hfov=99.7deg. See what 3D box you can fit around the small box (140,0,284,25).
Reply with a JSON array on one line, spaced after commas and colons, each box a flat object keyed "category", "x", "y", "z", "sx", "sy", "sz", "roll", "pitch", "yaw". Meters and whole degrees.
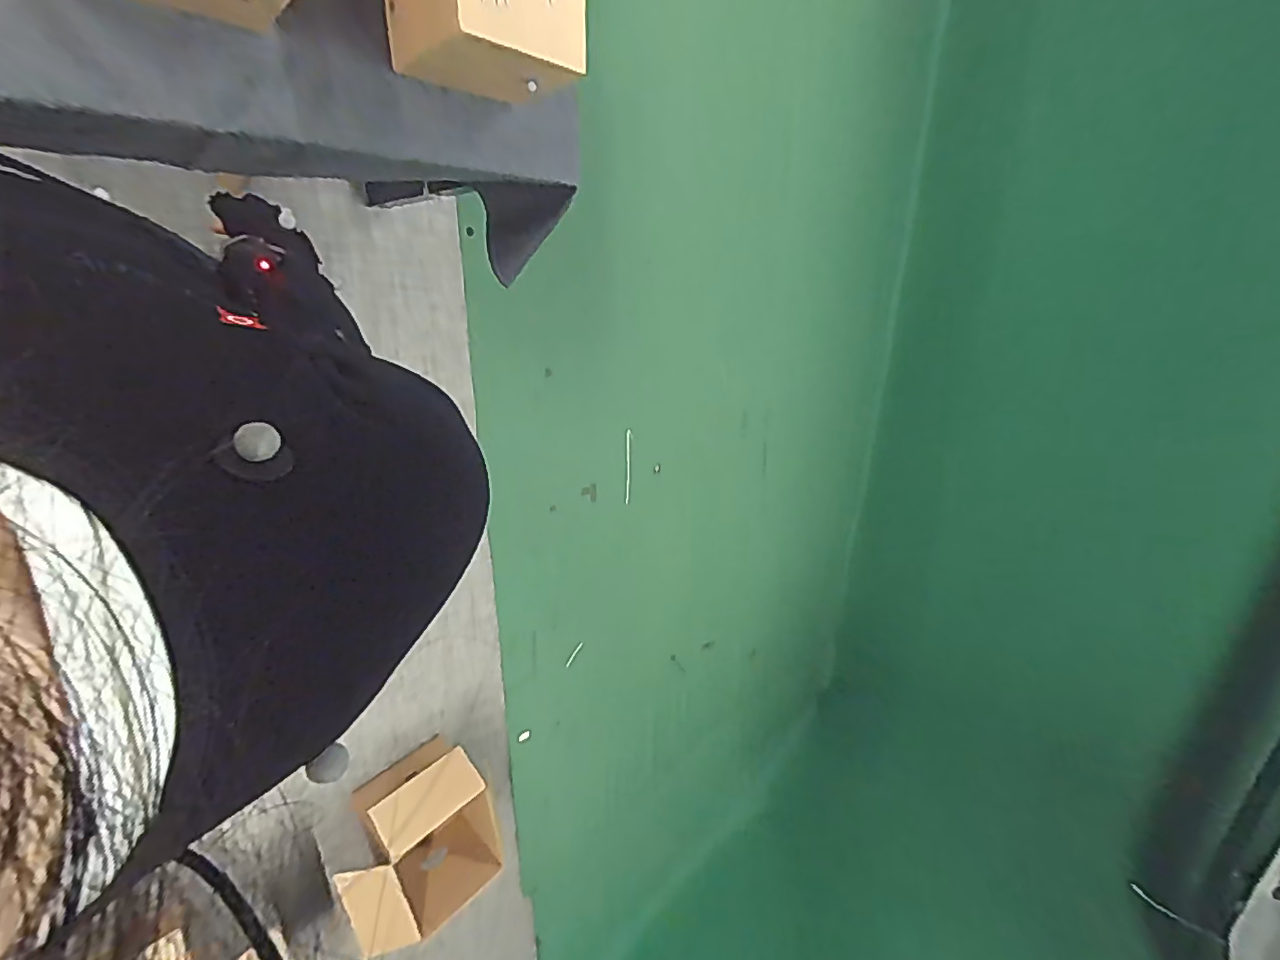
[{"category": "small box", "x": -0.401, "y": -0.508, "z": 0.435, "sx": 0.179, "sy": 0.176, "sz": 0.168, "roll": -18, "pitch": 117, "yaw": -42}]
